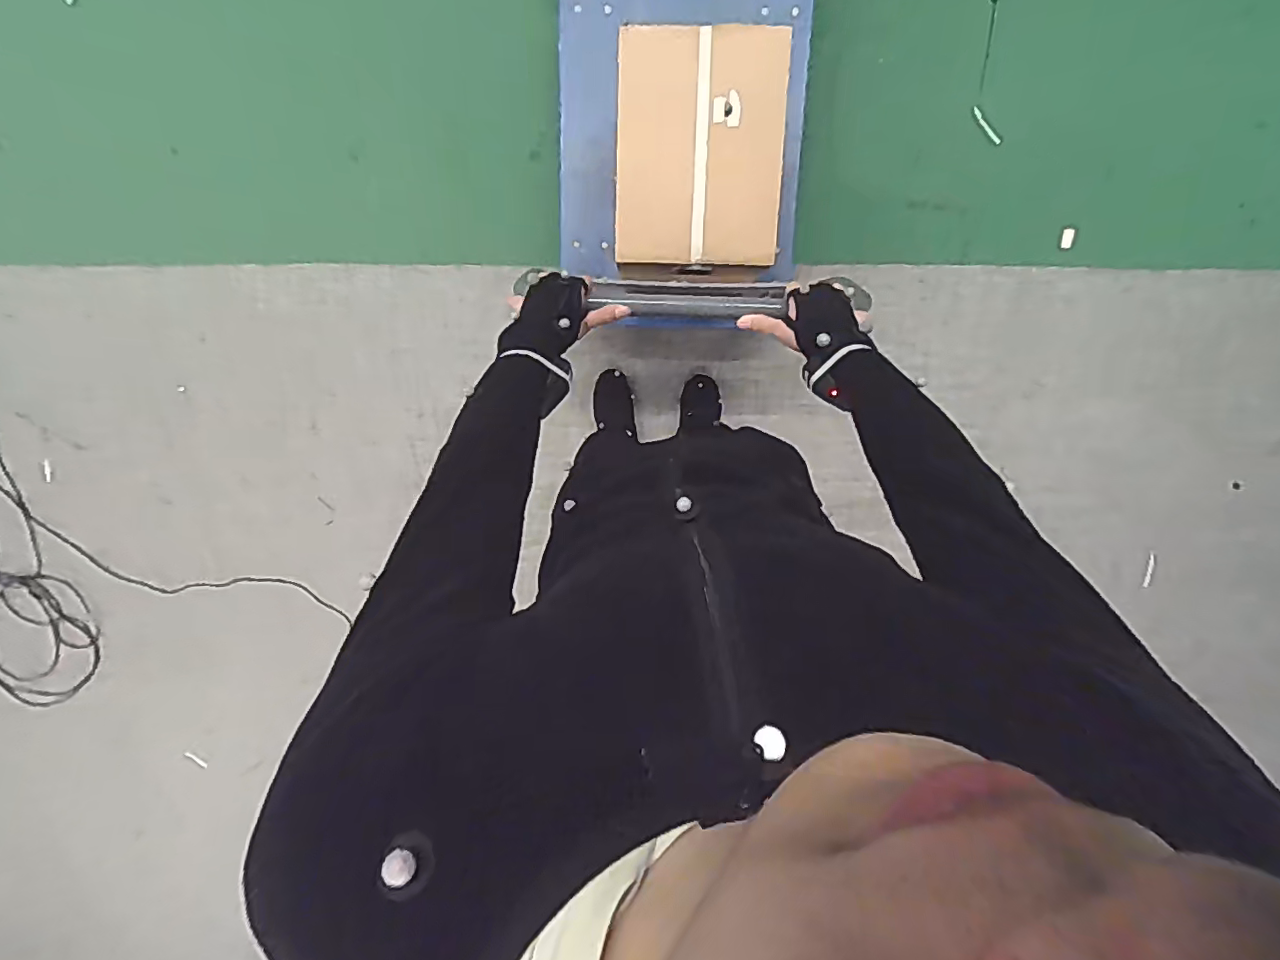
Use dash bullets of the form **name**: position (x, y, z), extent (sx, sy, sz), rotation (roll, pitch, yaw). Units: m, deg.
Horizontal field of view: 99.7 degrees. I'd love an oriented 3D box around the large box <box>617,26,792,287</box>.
- **large box**: position (0.120, -0.638, 1.146), extent (0.320, 0.320, 0.408), rotation (2, 101, 1)
